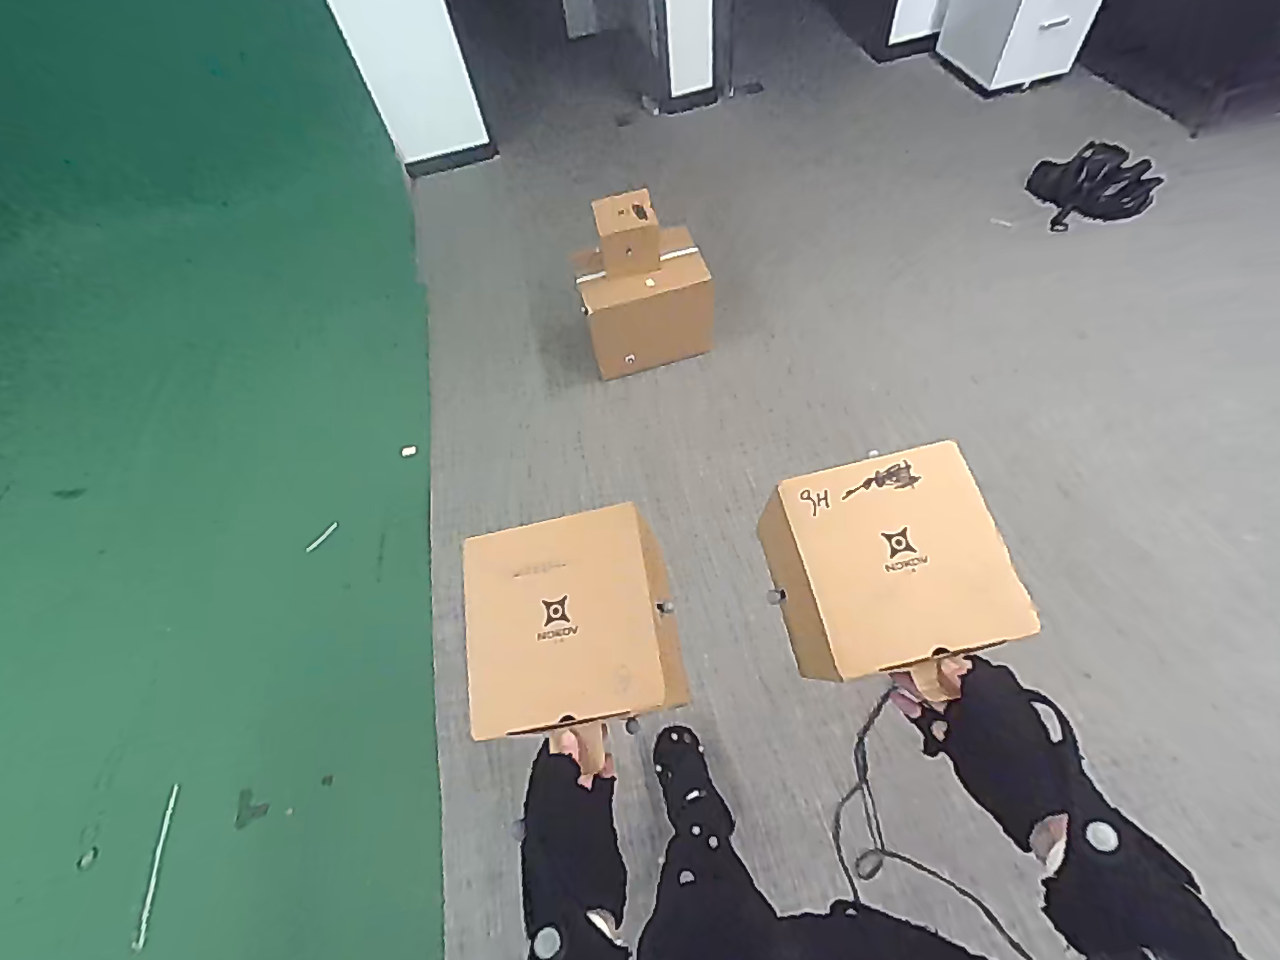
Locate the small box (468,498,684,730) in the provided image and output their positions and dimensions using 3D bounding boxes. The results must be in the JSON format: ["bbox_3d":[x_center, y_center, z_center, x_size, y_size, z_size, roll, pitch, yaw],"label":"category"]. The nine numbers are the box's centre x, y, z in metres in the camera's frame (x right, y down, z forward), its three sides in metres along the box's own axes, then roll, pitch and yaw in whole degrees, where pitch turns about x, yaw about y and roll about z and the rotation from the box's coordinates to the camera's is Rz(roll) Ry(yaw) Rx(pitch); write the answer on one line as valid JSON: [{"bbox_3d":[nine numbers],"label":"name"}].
[{"bbox_3d":[-0.056,0.140,0.544,0.168,0.176,0.179,-13,66,6],"label":"small box"}]

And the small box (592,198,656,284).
[{"bbox_3d":[-0.046,-0.738,1.680,0.179,0.176,0.168,-9,60,1],"label":"small box"}]
